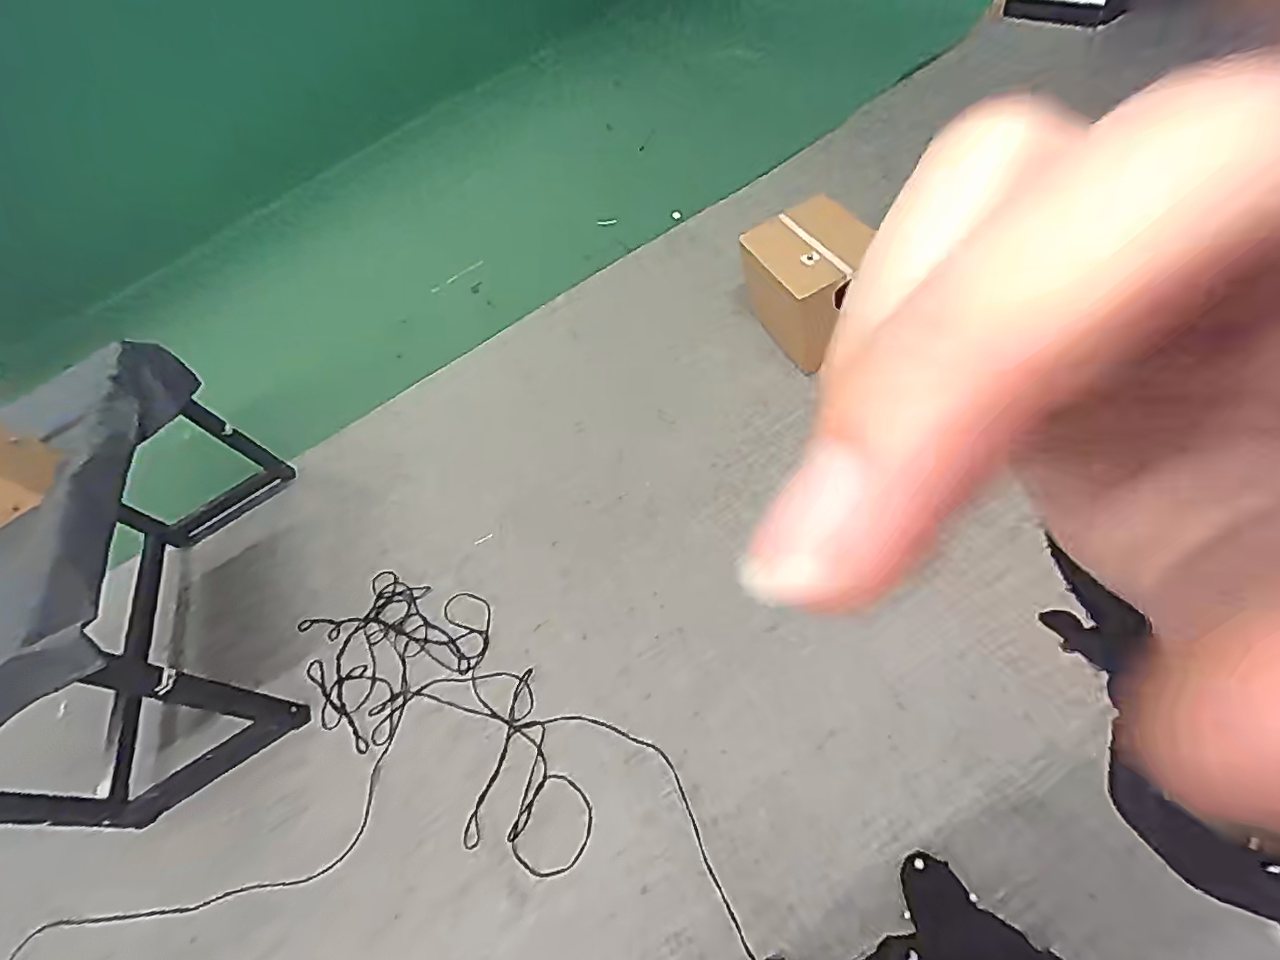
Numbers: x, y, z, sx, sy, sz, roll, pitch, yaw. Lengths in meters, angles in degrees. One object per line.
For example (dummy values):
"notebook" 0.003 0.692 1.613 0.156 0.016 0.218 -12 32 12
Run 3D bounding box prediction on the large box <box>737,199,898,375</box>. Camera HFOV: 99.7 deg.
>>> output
"large box" 0.557 -0.620 1.743 0.320 0.320 0.408 -27 53 2
